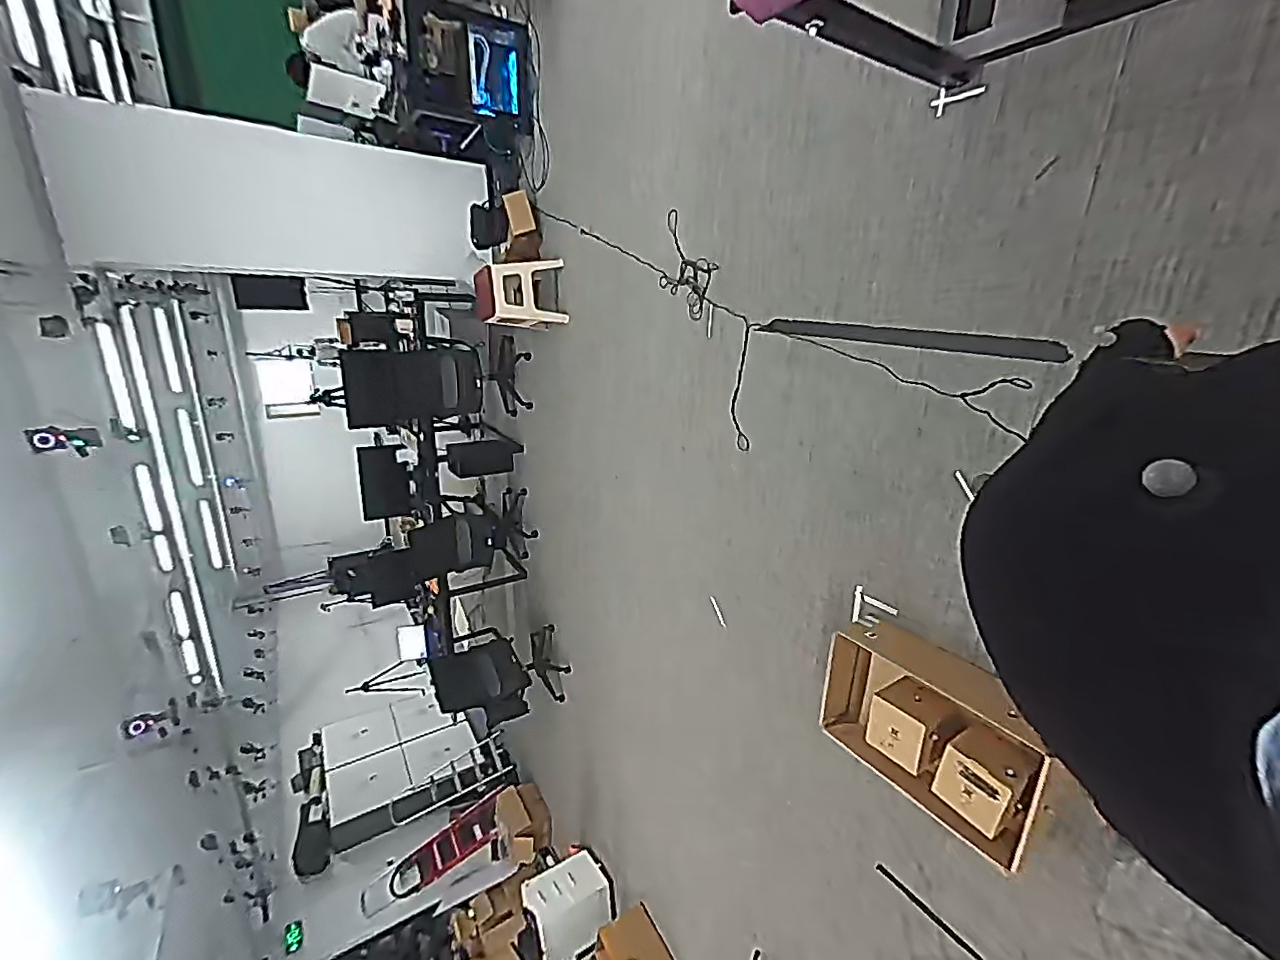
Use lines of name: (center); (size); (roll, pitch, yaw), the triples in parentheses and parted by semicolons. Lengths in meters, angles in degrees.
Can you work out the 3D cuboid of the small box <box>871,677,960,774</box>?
small box: (0.822, 0.721, 1.613); (0.168, 0.176, 0.179); (25, 119, 54)
